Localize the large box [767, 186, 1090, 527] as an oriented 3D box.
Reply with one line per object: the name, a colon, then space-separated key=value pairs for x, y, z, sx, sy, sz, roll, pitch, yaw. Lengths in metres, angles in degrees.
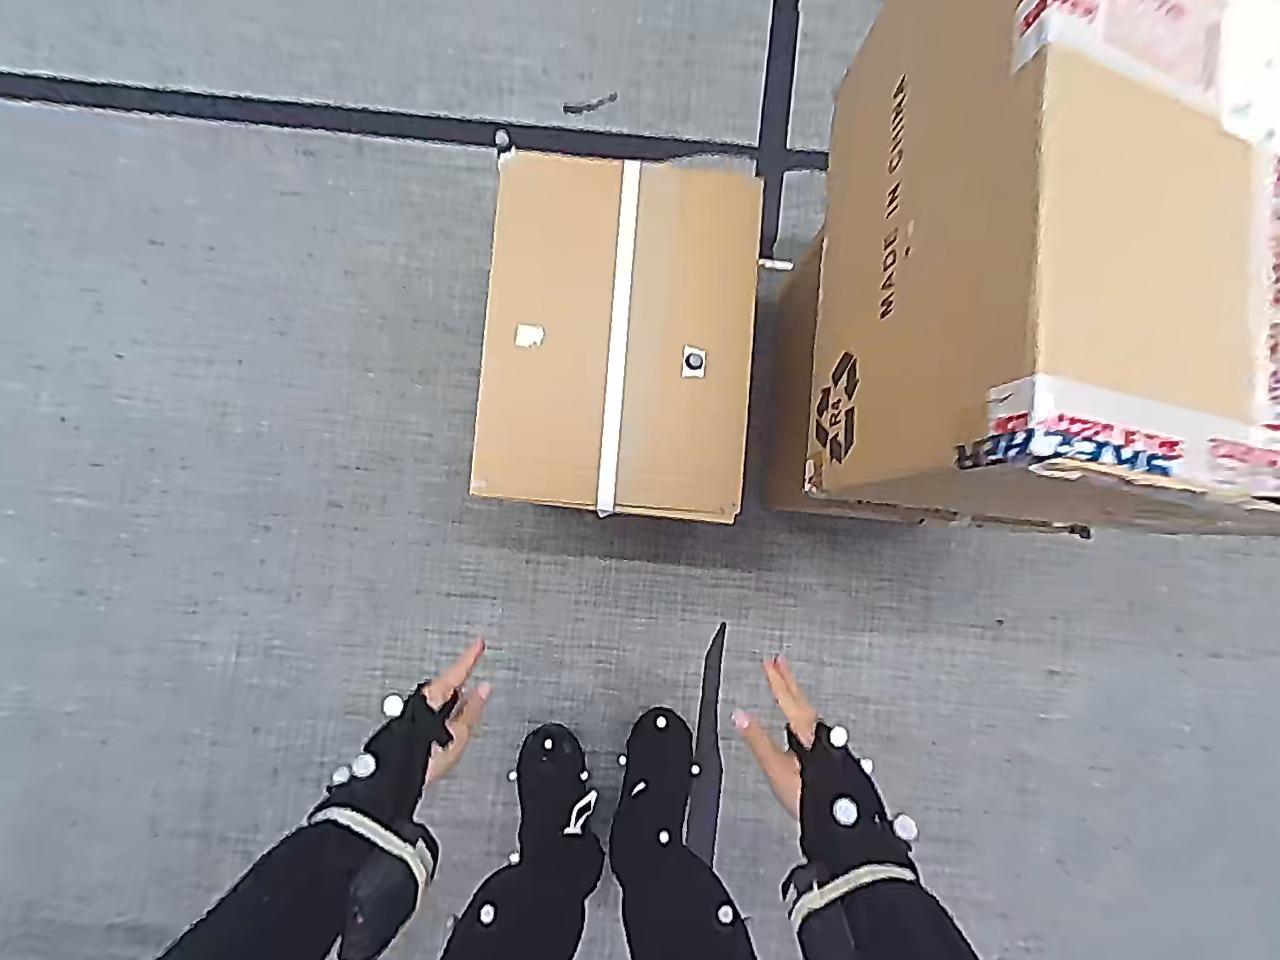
large box: x=0.387 y=-0.146 z=0.801 sx=0.320 sy=0.320 sz=0.408 roll=4 pitch=87 yaw=-2
